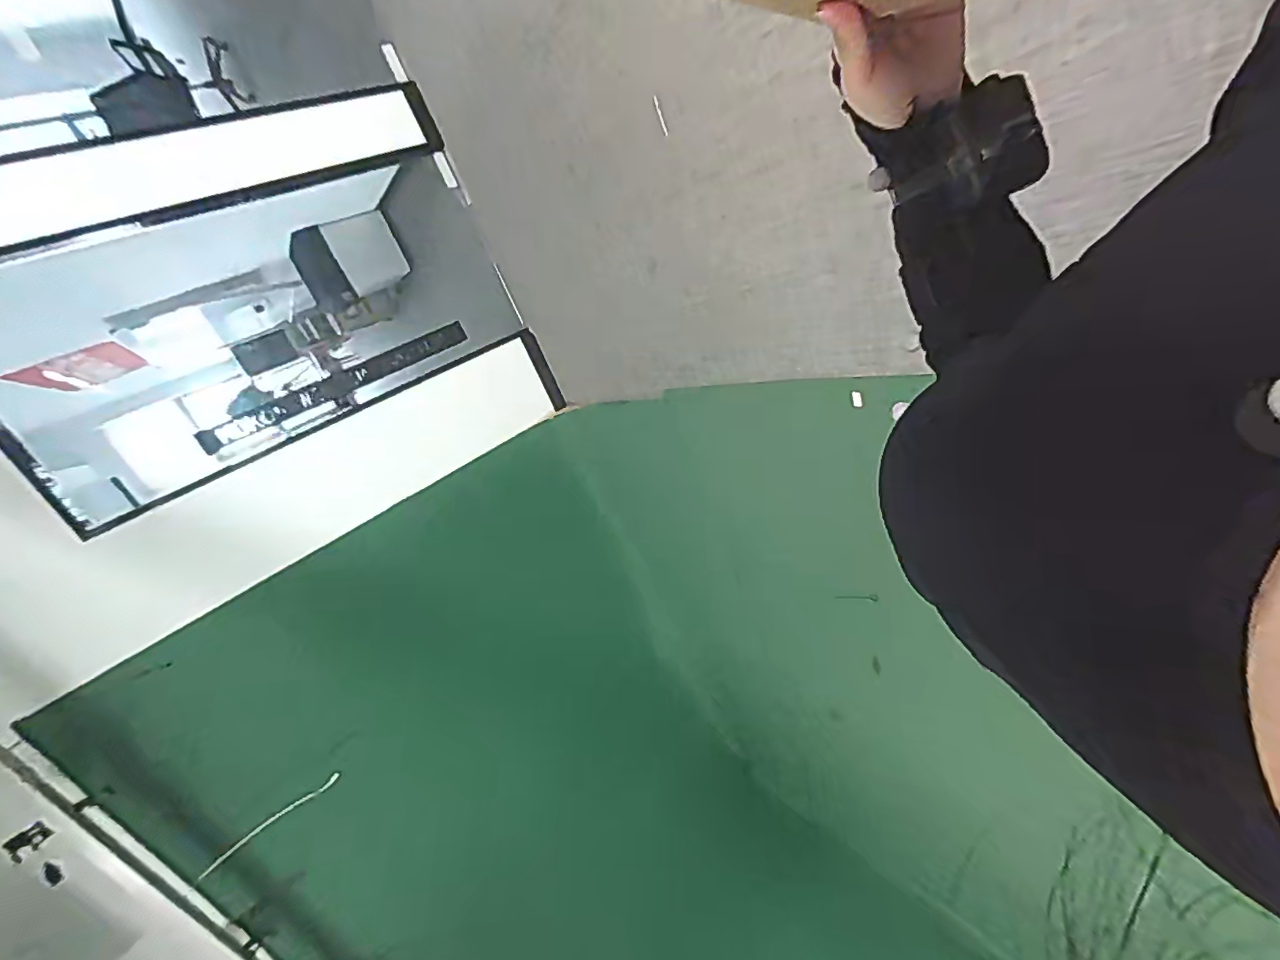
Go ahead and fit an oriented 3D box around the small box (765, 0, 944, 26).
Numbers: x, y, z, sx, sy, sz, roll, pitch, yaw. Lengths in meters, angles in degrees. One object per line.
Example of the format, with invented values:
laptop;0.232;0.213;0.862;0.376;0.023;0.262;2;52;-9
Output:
small box;0.106;-0.303;0.202;0.179;0.176;0.168;-135;42;-53
